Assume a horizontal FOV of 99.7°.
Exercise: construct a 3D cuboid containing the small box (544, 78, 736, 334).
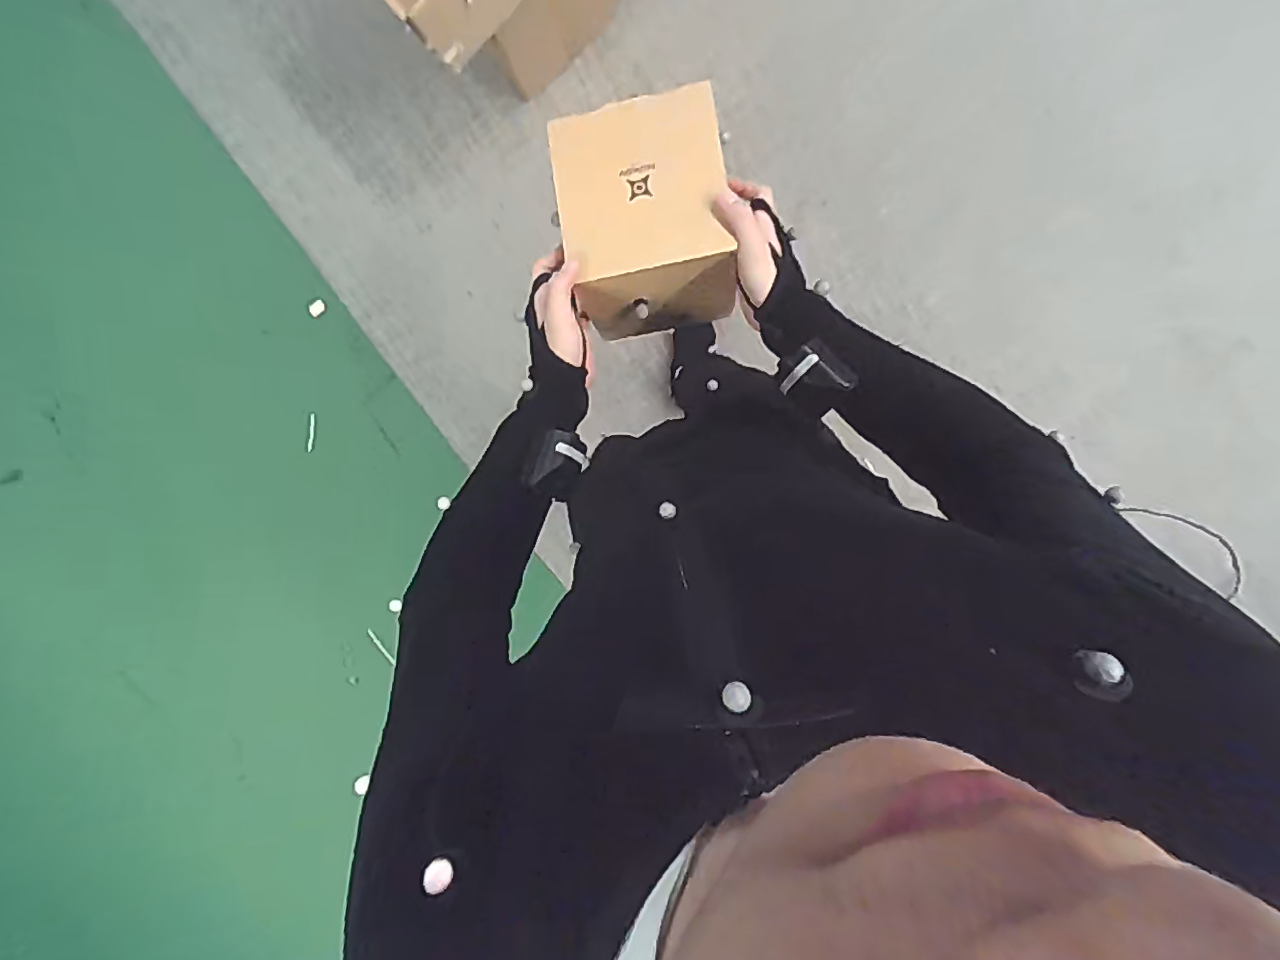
[{"bbox_3d":[0.009,-0.273,0.585,0.168,0.176,0.179,-9,83,6],"label":"small box"}]
